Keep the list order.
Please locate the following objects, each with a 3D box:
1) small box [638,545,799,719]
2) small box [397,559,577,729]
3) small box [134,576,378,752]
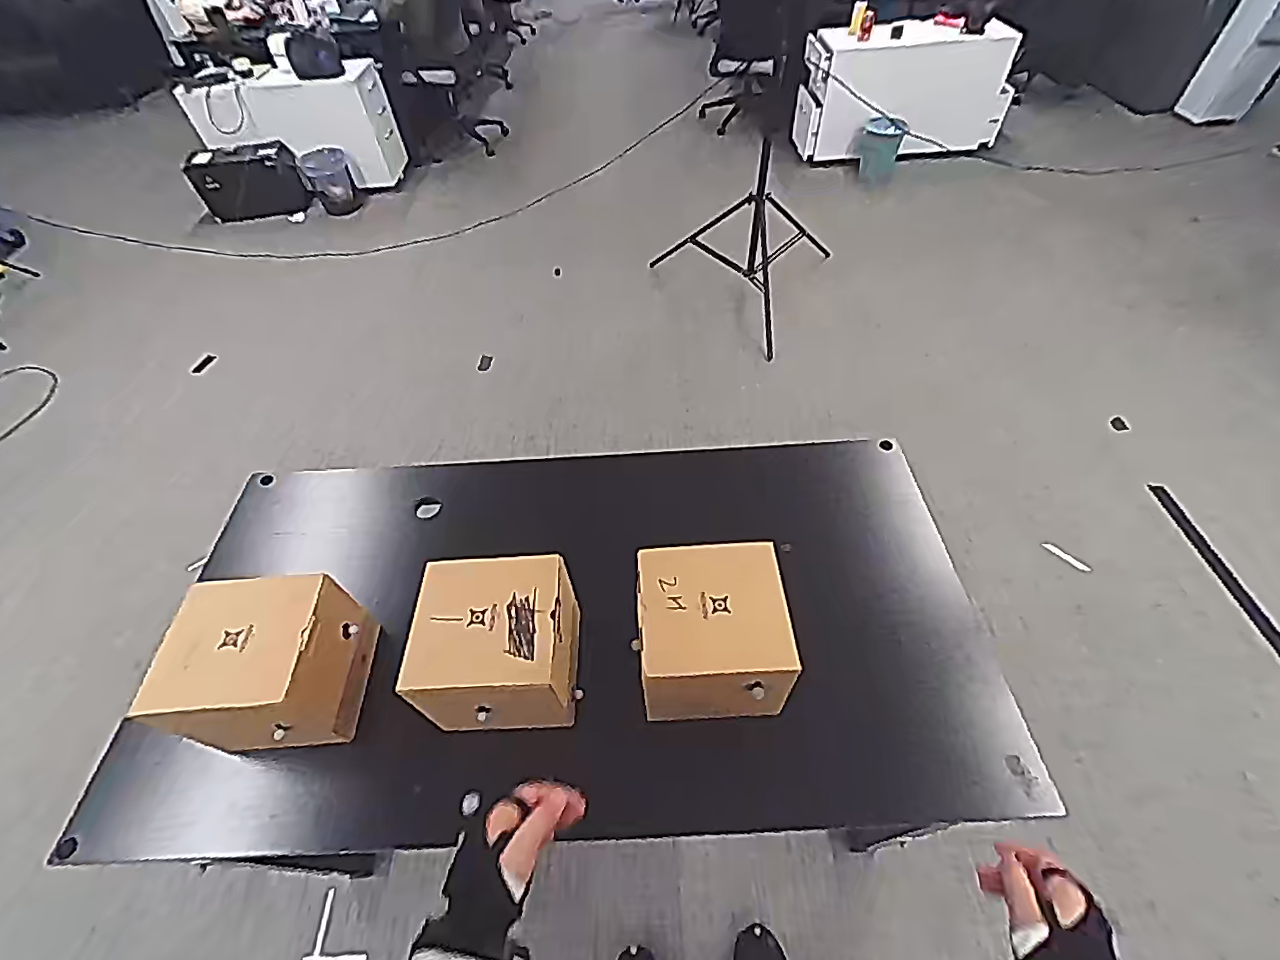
[{"bbox_3d":[0.090,0.201,0.703,0.179,0.176,0.168,-4,51,1],"label":"small box"},{"bbox_3d":[-0.181,0.218,0.708,0.179,0.176,0.168,-3,51,2],"label":"small box"},{"bbox_3d":[-0.474,0.244,0.708,0.179,0.176,0.168,-6,50,0],"label":"small box"}]
